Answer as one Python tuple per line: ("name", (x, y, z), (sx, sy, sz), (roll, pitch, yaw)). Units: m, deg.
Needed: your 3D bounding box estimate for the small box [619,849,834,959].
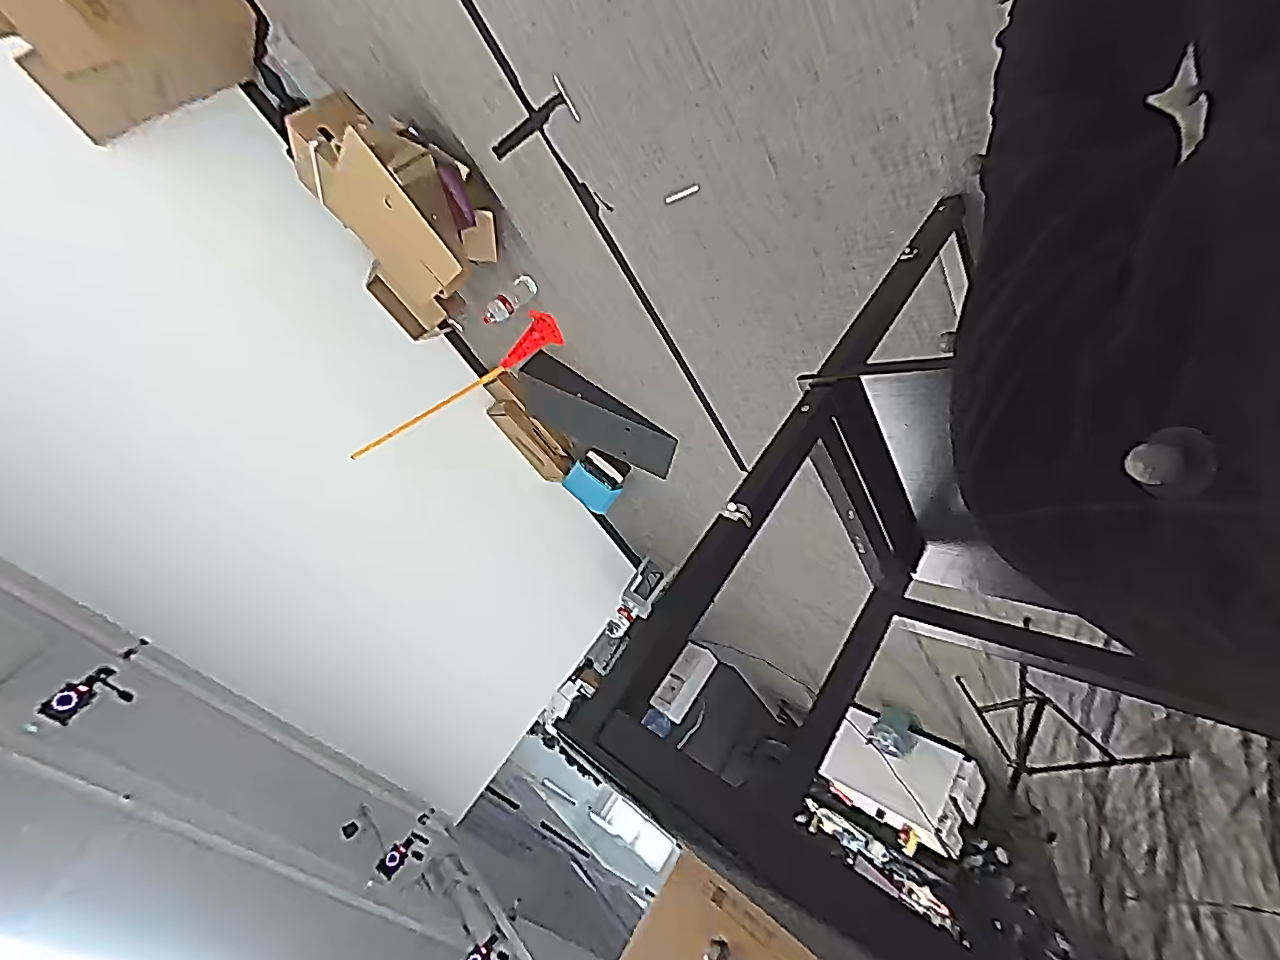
("small box", (0.095, 0.512, 0.529), (0.168, 0.176, 0.179), (8, 142, 49))
